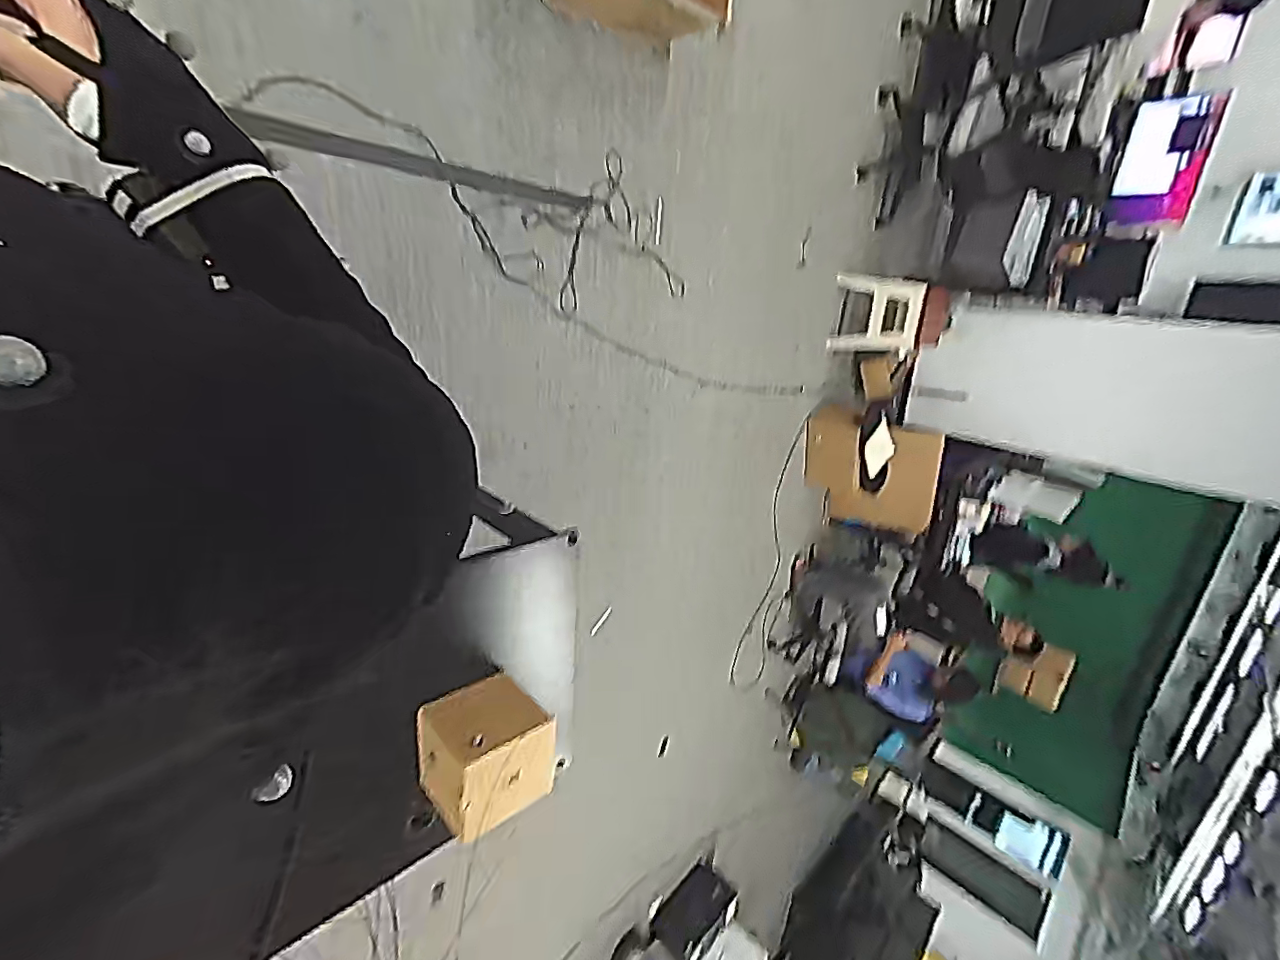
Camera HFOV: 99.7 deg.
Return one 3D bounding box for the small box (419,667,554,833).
[{"bbox_3d":[-0.276,0.469,0.975,0.179,0.176,0.168,-13,115,-42],"label":"small box"}]
